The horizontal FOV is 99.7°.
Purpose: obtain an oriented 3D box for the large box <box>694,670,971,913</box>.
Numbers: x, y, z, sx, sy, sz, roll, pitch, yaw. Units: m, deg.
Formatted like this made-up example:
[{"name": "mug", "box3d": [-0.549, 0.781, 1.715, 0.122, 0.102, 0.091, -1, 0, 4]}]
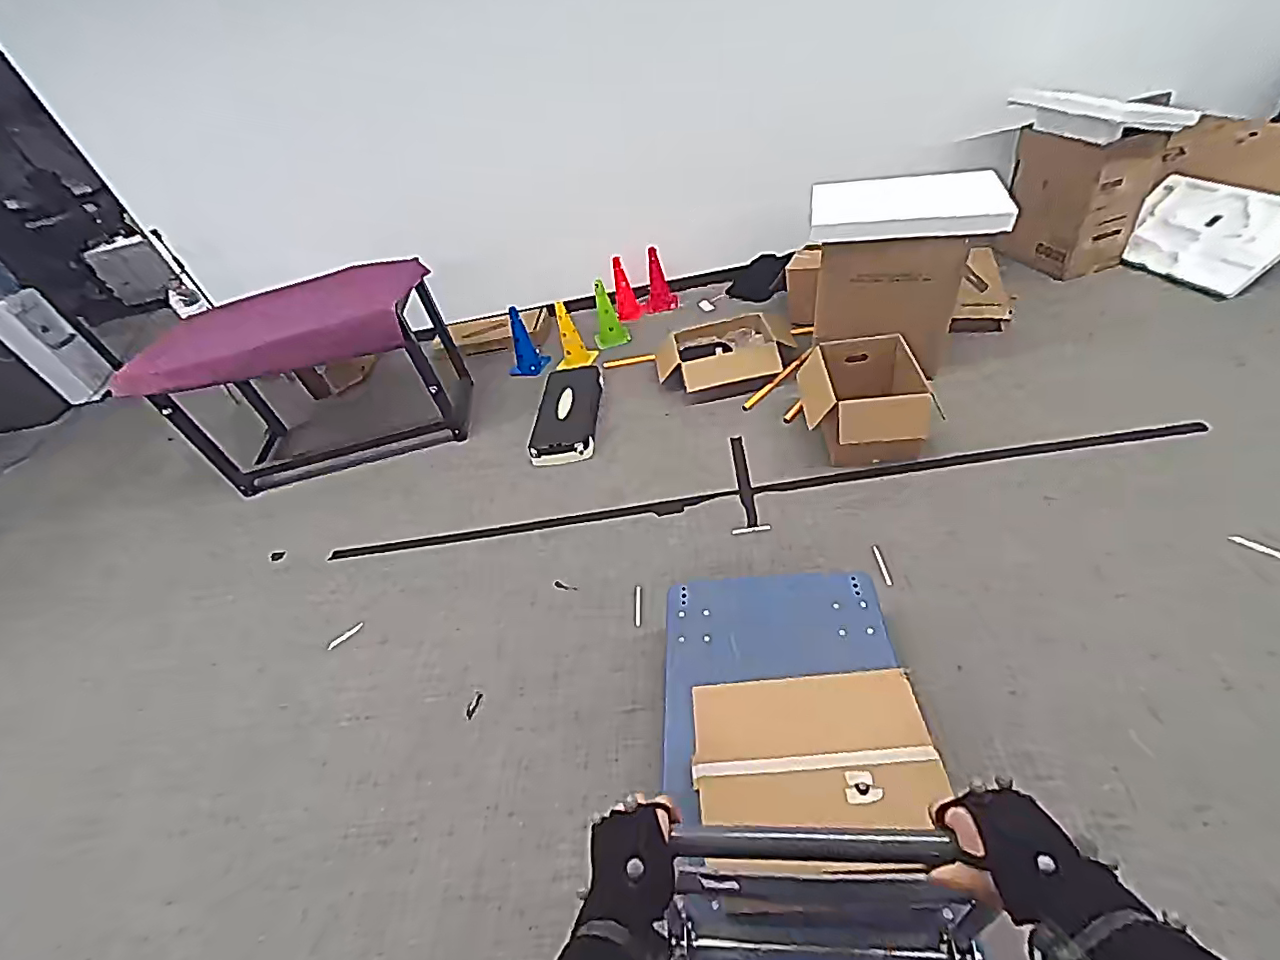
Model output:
[{"name": "large box", "box3d": [0.329, 0.603, 1.043, 0.408, 0.320, 0.320, -8, 43, 6]}]
